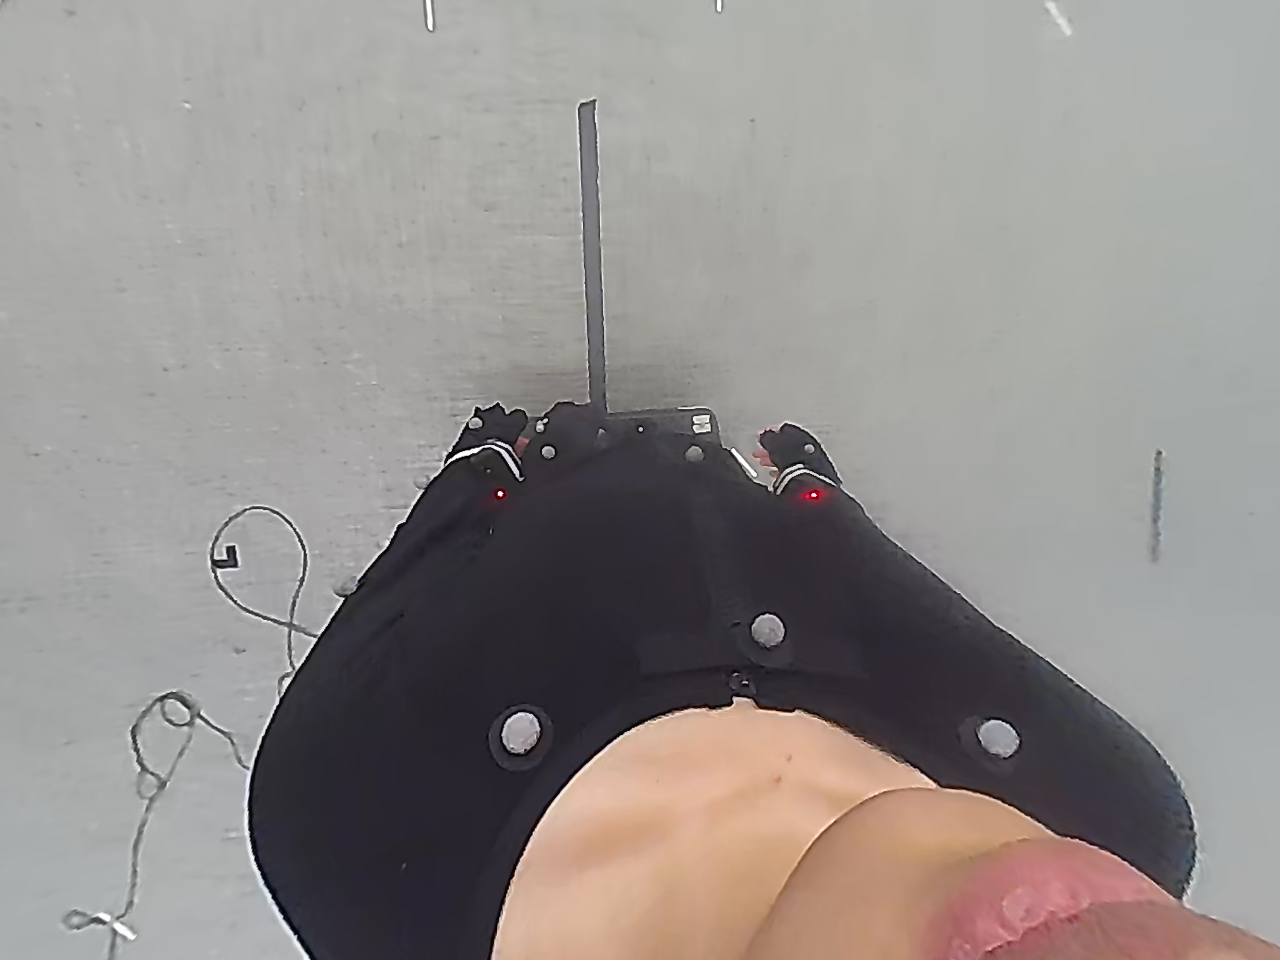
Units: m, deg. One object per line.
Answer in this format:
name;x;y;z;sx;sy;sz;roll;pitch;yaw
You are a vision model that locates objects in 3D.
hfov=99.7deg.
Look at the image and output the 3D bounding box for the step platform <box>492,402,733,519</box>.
step platform;-0.075;-0.061;1.564;0.684;0.204;0.286;-5;97;-4
